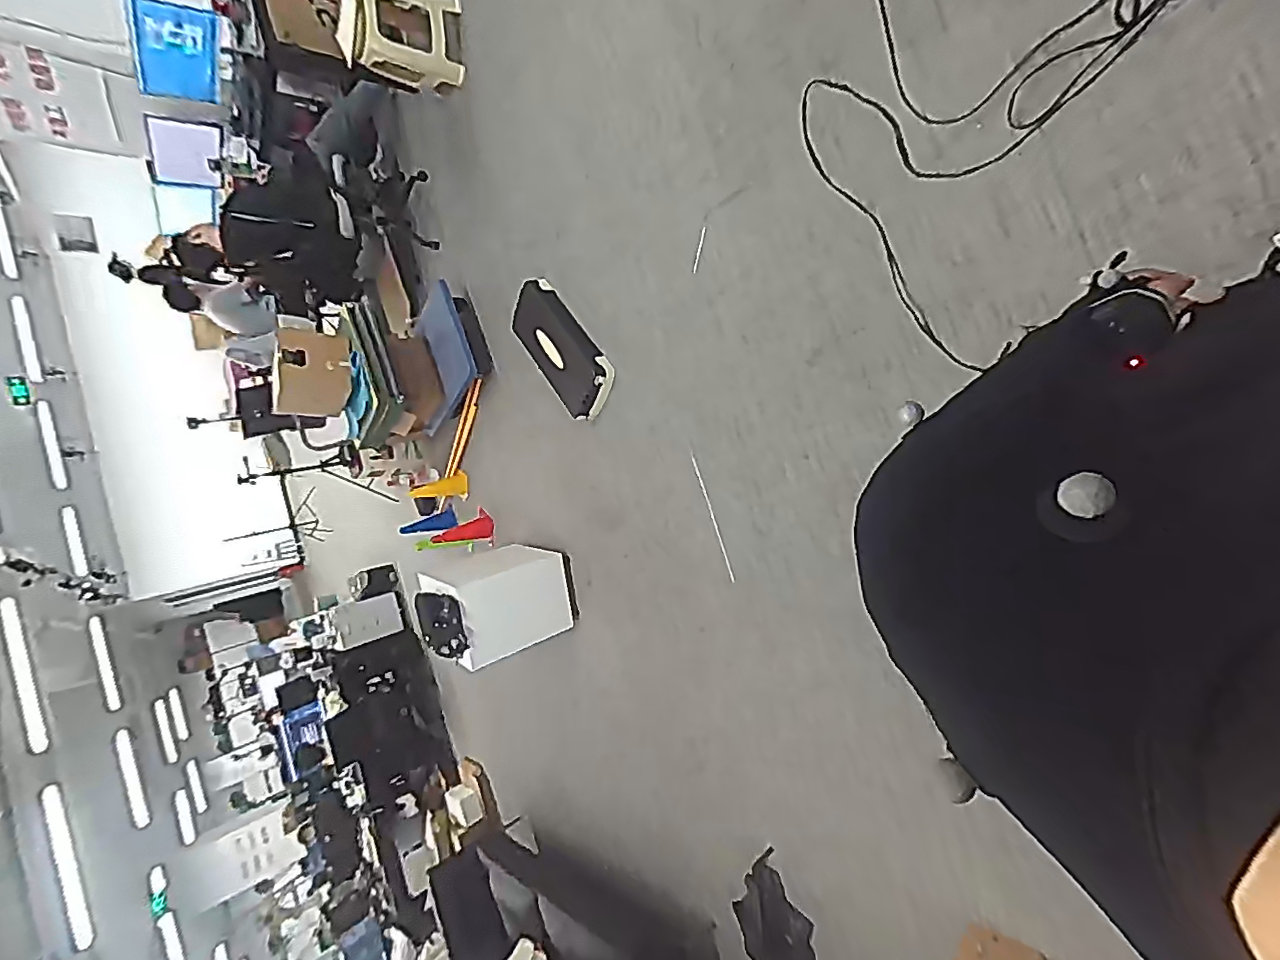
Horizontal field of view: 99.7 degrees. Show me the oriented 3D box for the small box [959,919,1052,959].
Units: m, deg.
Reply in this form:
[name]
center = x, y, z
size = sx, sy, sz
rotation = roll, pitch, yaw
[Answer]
[small box]
center = 0.949, 1.293, 1.384
size = 0.168, 0.176, 0.179
rotation = -11, 94, 53
